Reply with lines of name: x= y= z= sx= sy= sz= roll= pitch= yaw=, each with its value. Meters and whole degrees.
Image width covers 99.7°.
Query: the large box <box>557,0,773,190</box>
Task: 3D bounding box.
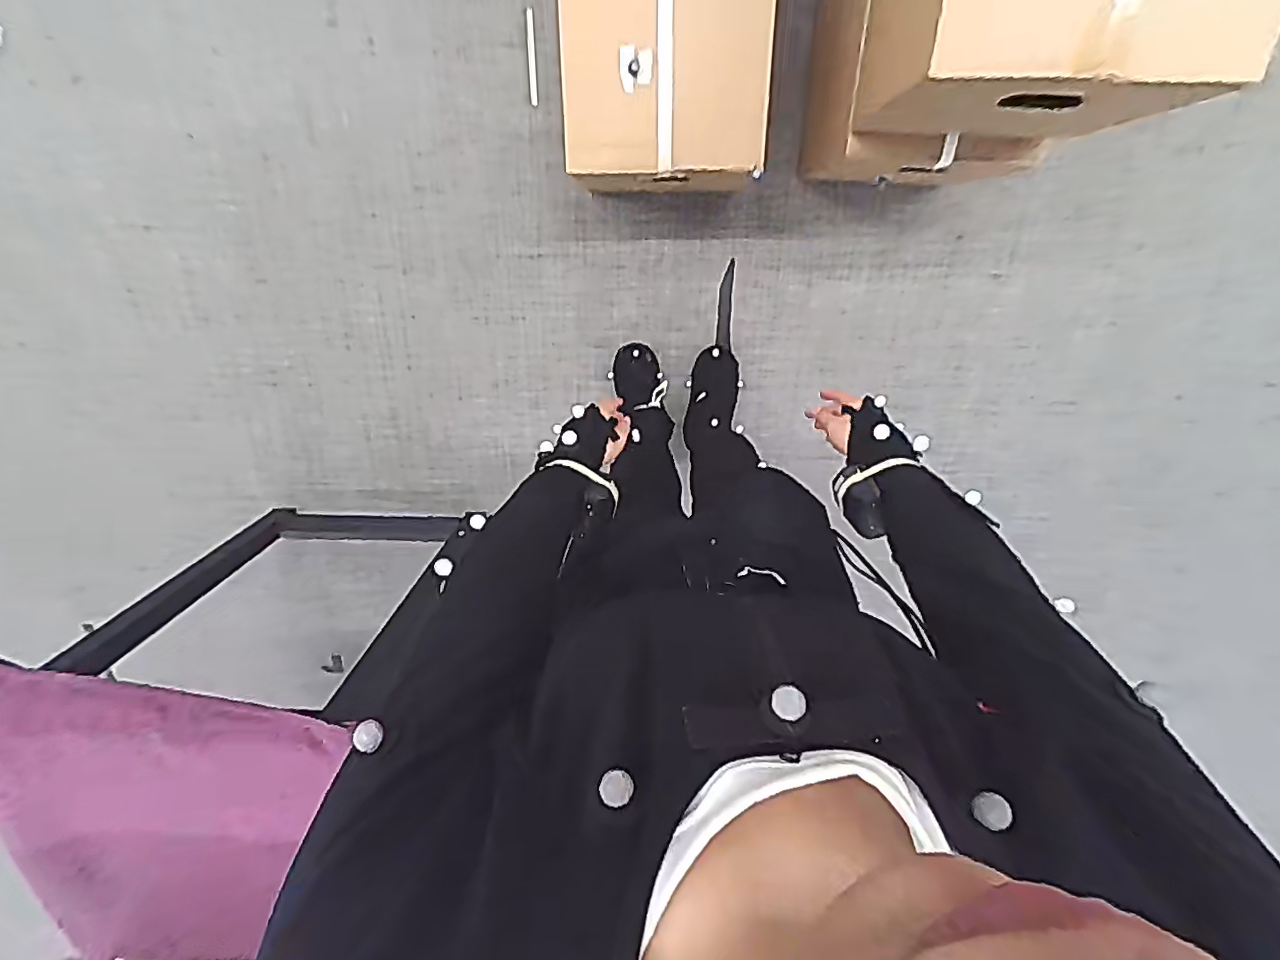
large box: x=0.039 y=-0.731 z=0.913 sx=0.320 sy=0.320 sz=0.408 roll=0 pitch=114 yaw=2
